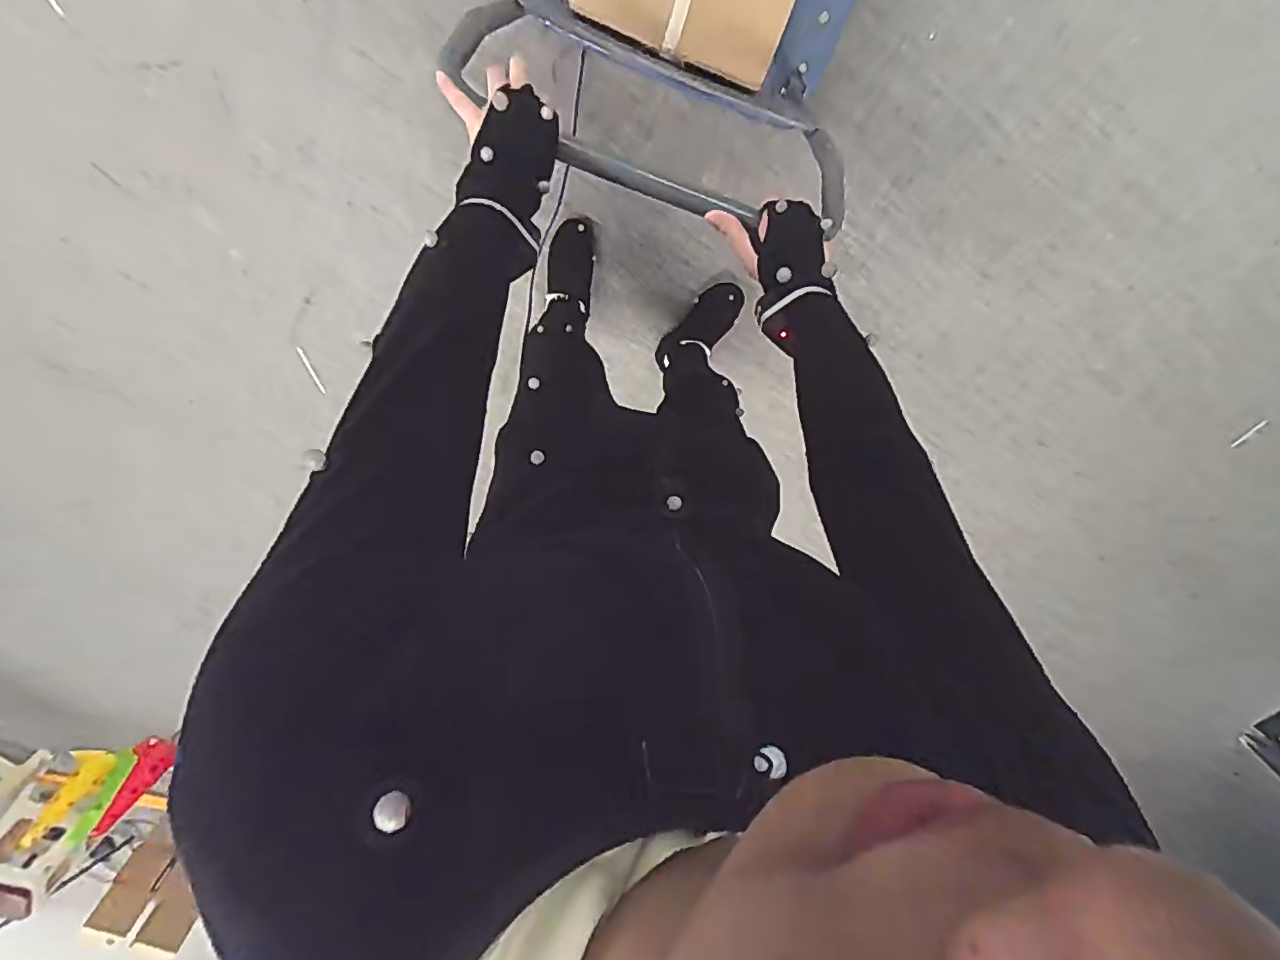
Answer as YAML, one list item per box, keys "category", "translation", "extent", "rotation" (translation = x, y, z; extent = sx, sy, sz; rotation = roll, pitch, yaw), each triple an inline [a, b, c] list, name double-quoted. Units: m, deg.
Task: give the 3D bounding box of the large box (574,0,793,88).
- category: "large box"
  translation: [0.115, -0.901, 0.830]
  extent: [0.320, 0.320, 0.408]
  rotation: [17, 130, -9]
